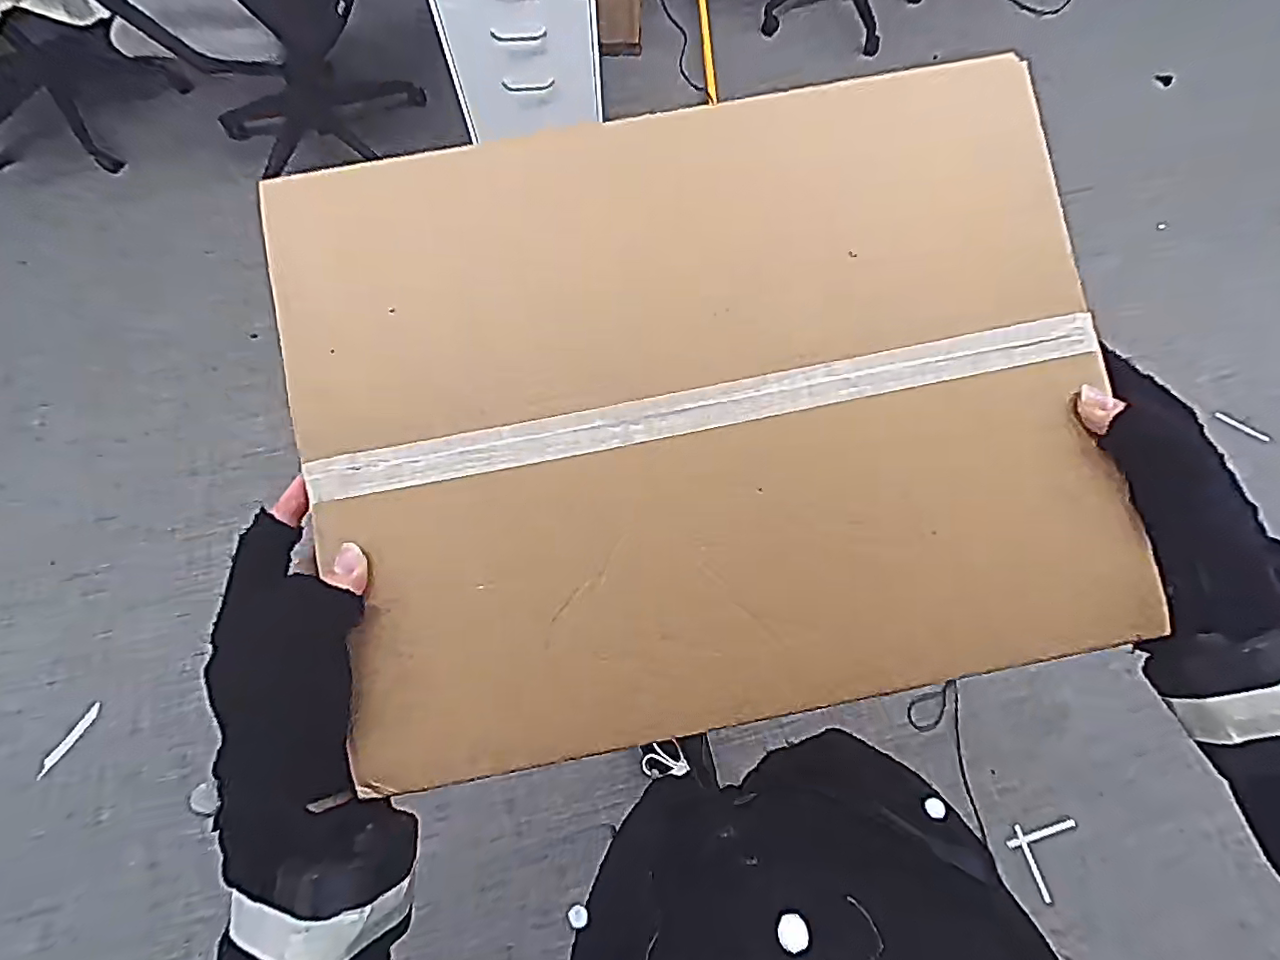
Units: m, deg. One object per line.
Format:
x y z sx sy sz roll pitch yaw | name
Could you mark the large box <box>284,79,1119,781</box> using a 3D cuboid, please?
0.030 -0.028 0.434 0.408 0.320 0.320 -11 86 -2 | large box
